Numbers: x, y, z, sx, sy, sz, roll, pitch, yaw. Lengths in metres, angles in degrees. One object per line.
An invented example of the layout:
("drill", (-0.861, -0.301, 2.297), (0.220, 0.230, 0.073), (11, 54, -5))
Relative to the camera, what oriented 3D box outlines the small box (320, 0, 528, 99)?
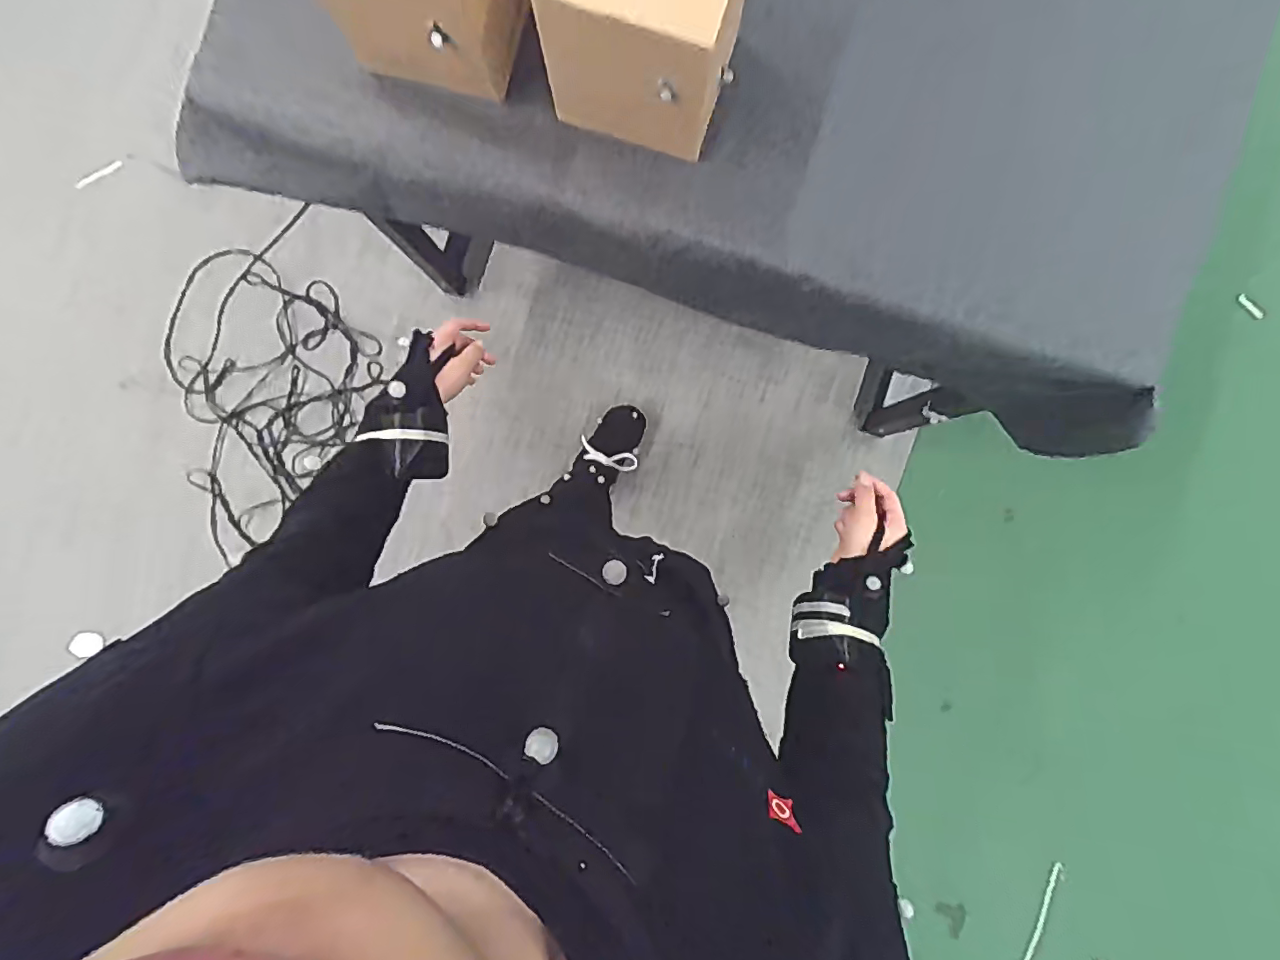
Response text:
("small box", (-0.228, -0.549, 0.570), (0.179, 0.176, 0.168), (14, 87, 2))
